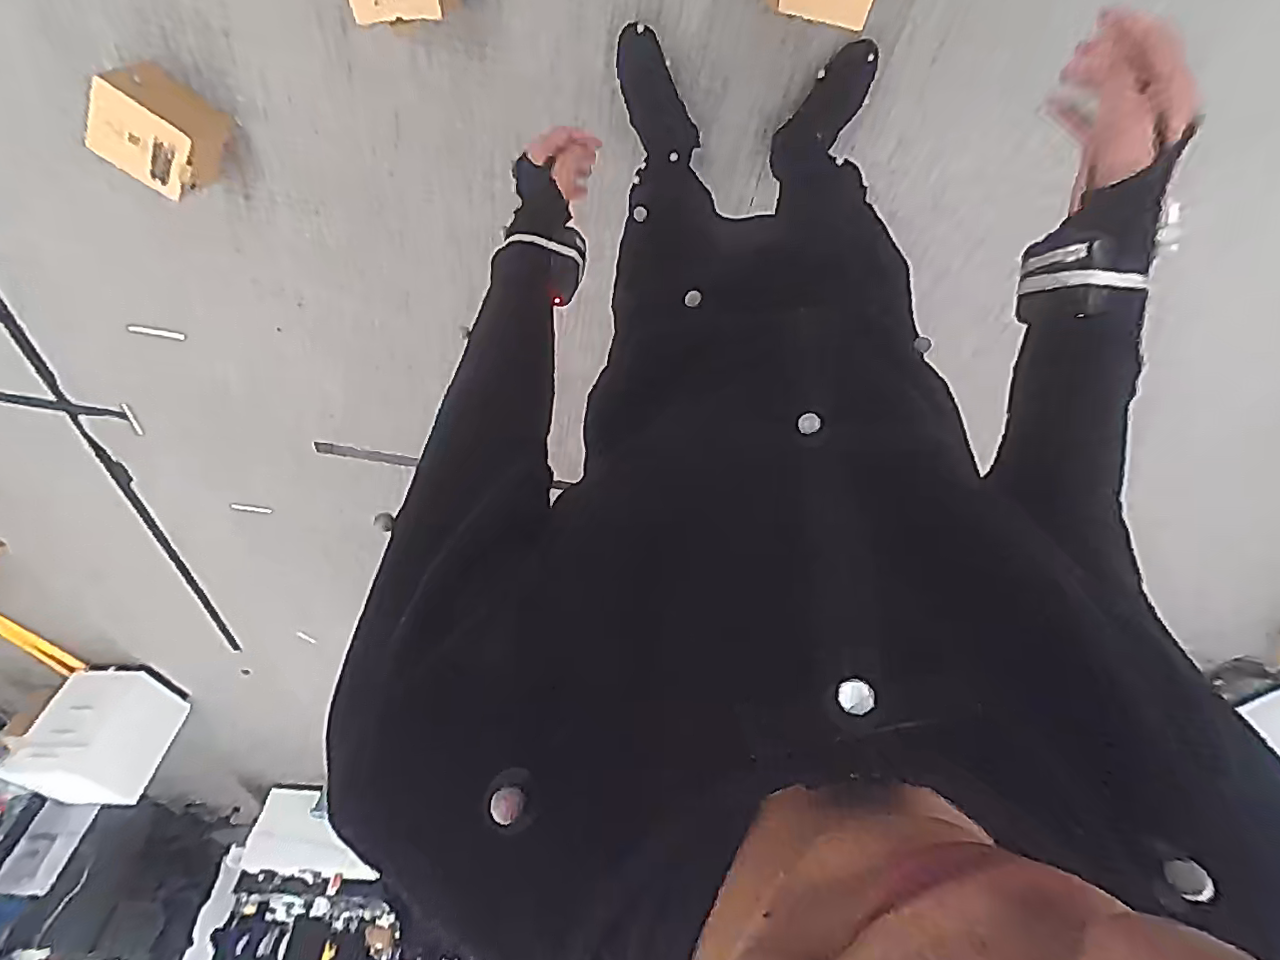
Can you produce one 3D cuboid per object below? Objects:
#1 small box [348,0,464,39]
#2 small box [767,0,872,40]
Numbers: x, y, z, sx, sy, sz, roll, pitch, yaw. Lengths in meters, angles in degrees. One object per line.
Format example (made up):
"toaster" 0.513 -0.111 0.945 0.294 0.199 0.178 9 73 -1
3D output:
"small box" -0.444 -0.943 1.003 0.168 0.176 0.179 -2 134 3
"small box" 0.342 -0.943 0.993 0.168 0.176 0.179 7 133 -6
